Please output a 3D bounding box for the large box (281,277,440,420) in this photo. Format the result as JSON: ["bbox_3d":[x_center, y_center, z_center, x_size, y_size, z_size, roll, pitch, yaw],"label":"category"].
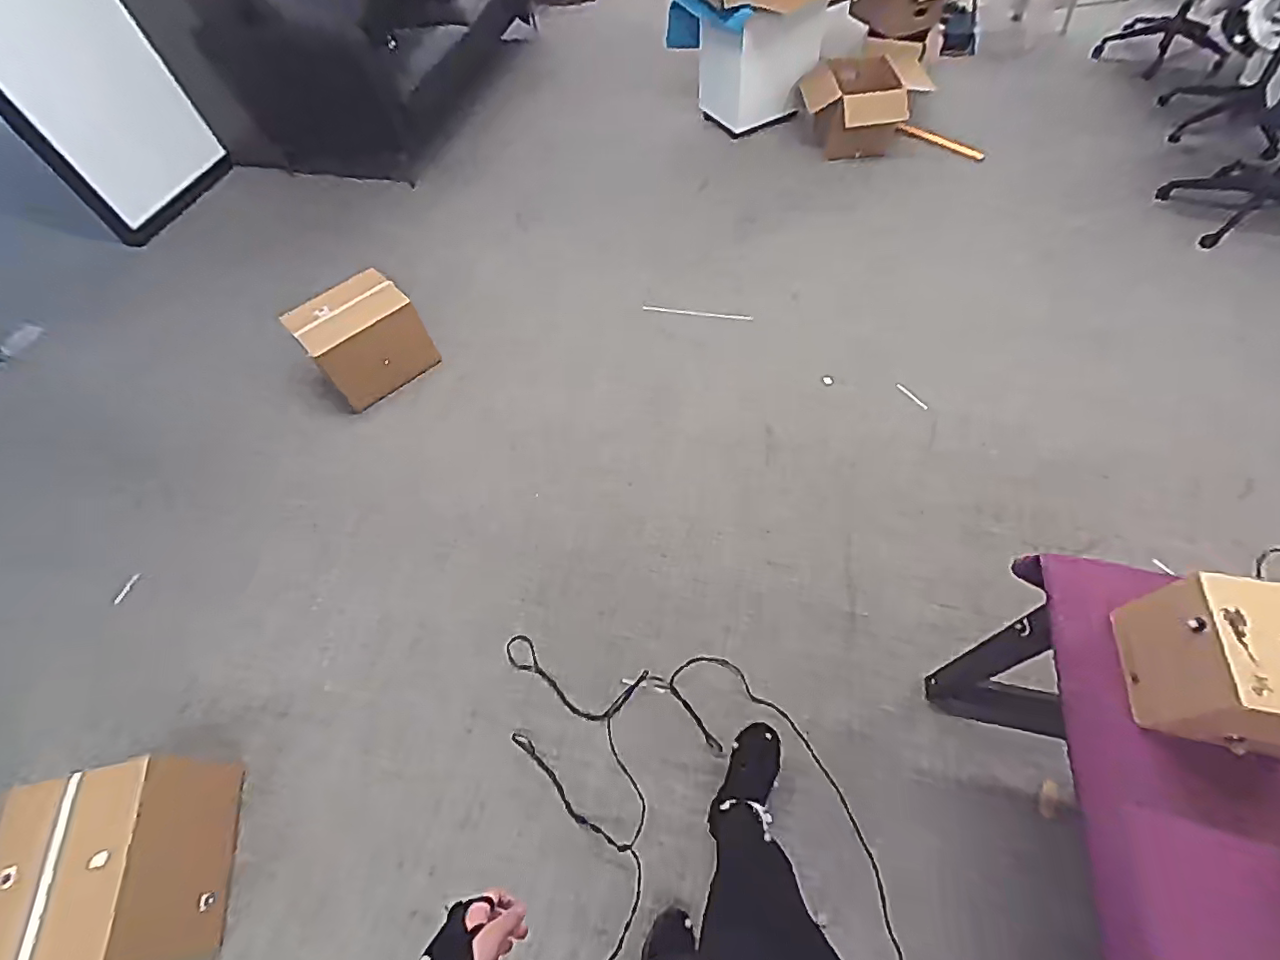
[{"bbox_3d":[-1.087,-0.518,2.142,0.408,0.320,0.320,-41,61,-18],"label":"large box"}]

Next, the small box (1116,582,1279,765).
[{"bbox_3d":[0.766,0.248,0.680,0.179,0.176,0.168,9,58,9],"label":"small box"}]
